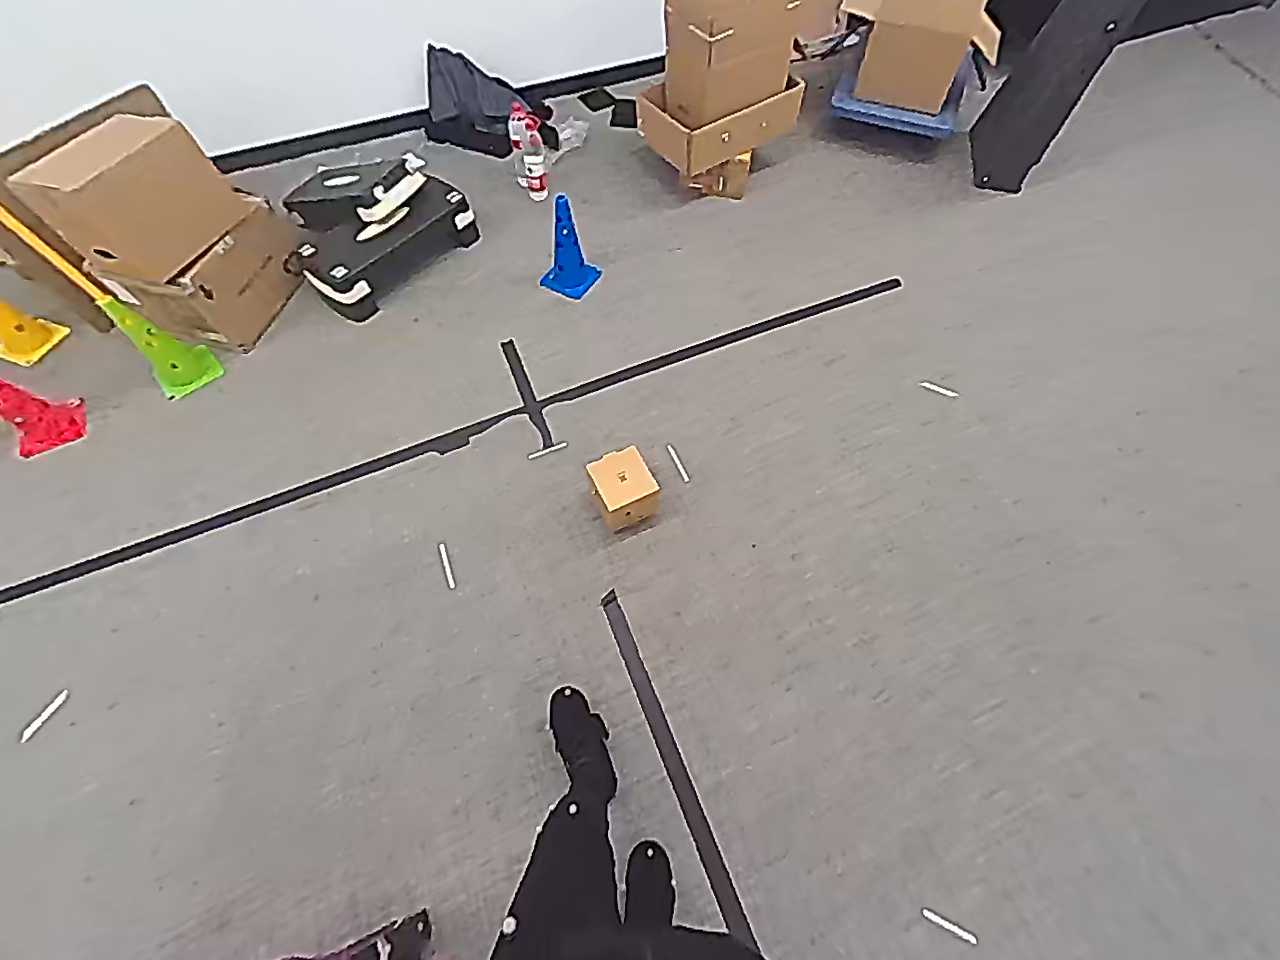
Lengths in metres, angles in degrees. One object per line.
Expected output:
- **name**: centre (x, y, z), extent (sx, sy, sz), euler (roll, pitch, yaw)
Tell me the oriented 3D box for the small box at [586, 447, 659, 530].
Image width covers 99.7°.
- **small box**: centre (-0.052, 0.035, 1.673), extent (0.168, 0.176, 0.179), euler (-24, 64, -13)
